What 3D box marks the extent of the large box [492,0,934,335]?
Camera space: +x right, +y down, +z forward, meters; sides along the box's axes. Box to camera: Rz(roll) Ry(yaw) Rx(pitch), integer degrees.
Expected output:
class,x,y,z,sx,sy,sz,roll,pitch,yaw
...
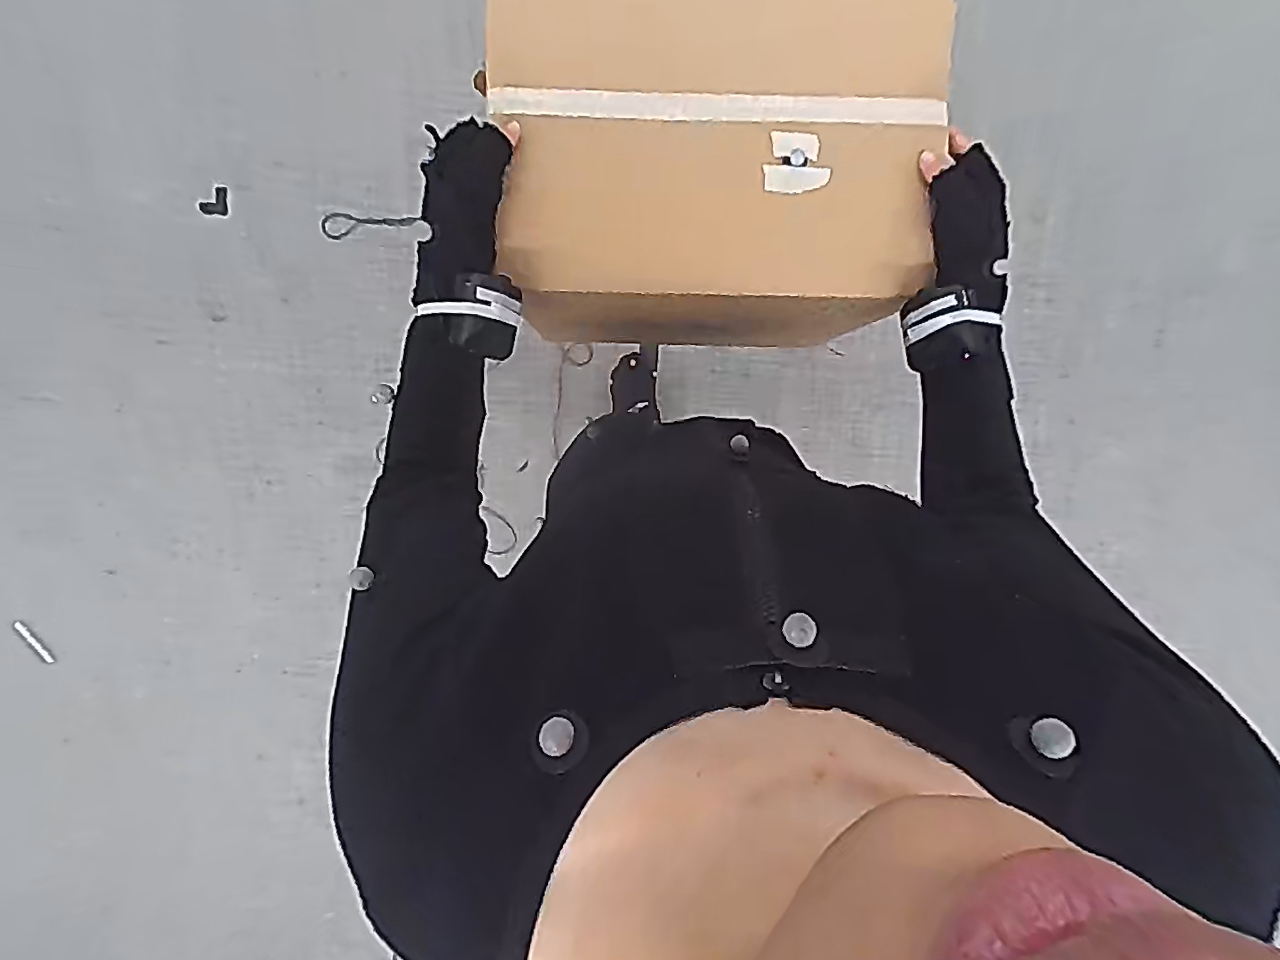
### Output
class,x,y,z,sx,sy,sz,roll,pitch,yaw
large box,0.061,-0.355,0.640,0.408,0.320,0.320,0,97,-3
